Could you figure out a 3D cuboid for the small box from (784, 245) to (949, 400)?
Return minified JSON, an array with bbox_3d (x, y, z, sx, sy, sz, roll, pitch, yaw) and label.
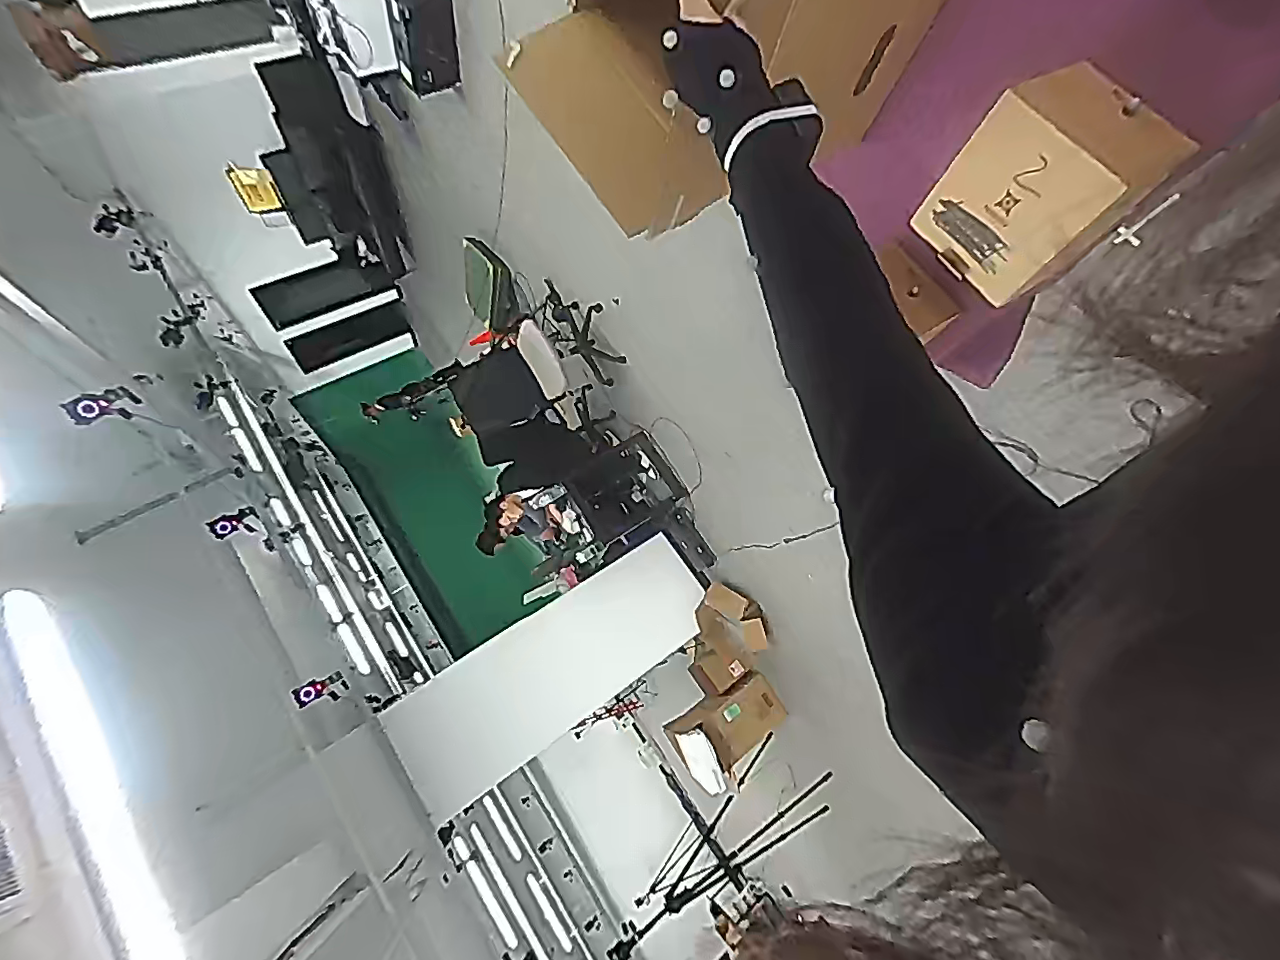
[{"bbox_3d":[0.397,-0.277,0.960,0.168,0.176,0.179,55,157,12],"label":"small box"}]
